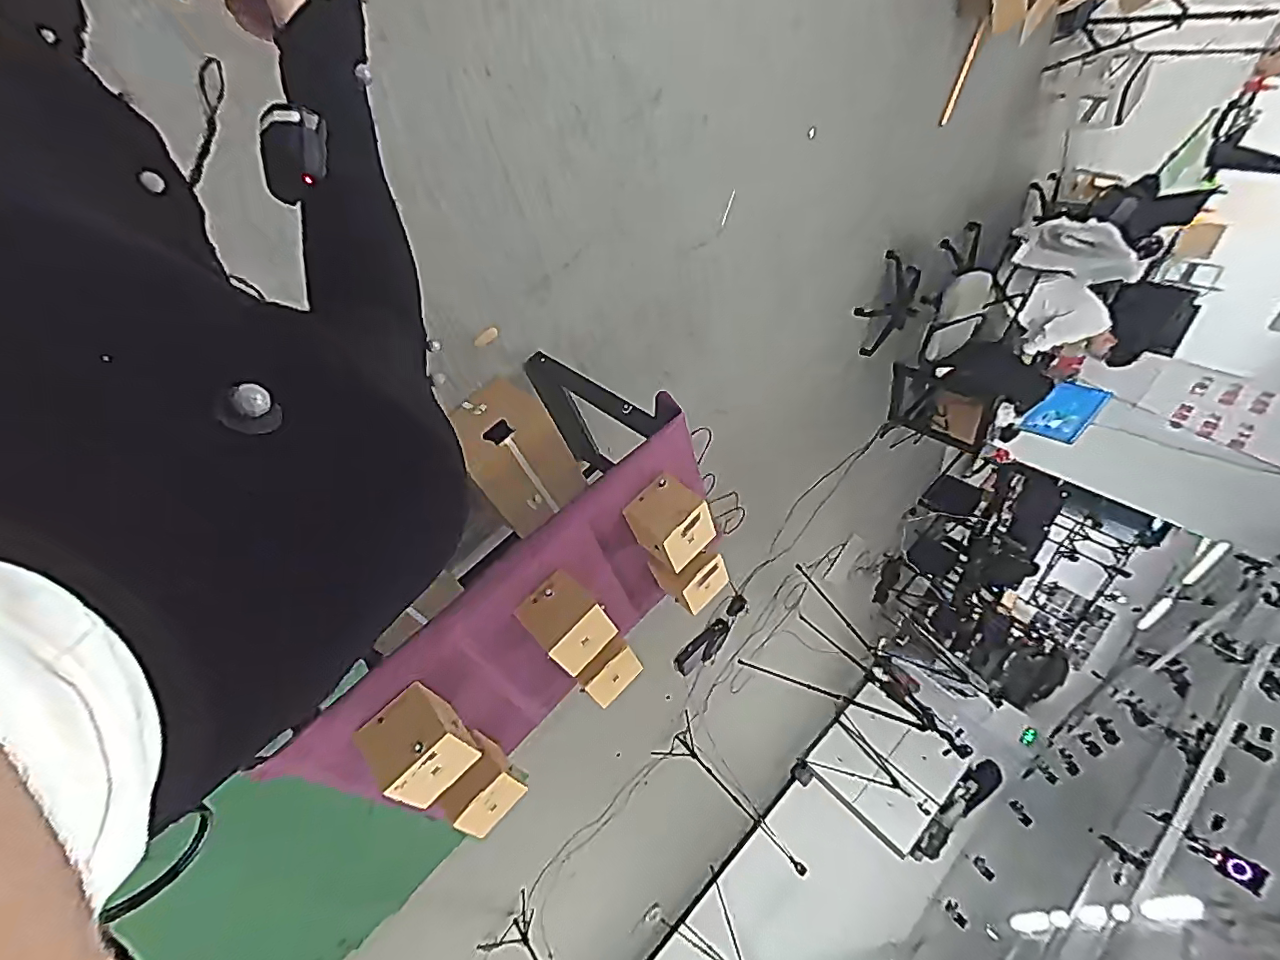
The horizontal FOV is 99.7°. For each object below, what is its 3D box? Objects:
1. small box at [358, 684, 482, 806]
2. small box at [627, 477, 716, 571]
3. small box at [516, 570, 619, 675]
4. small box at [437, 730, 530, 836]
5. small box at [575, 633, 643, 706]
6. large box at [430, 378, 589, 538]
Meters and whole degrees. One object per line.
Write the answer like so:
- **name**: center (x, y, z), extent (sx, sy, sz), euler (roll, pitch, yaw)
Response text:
- **small box**: center (-0.500, 0.602, 1.237), extent (0.168, 0.176, 0.179), euler (-41, 143, -20)
- **small box**: center (0.086, 0.114, 1.506), extent (0.168, 0.176, 0.179), euler (-42, 142, -15)
- **small box**: center (-0.187, 0.364, 1.402), extent (0.168, 0.176, 0.179), euler (-43, 141, -17)
- **small box**: center (-0.436, 0.813, 1.461), extent (0.168, 0.176, 0.179), euler (-42, 140, -20)
- **small box**: center (-0.120, 0.525, 1.596), extent (0.168, 0.176, 0.179), euler (-41, 139, -17)
- **large box**: center (-0.444, -0.077, 1.885), extent (0.320, 0.320, 0.408), euler (-43, 142, -15)
